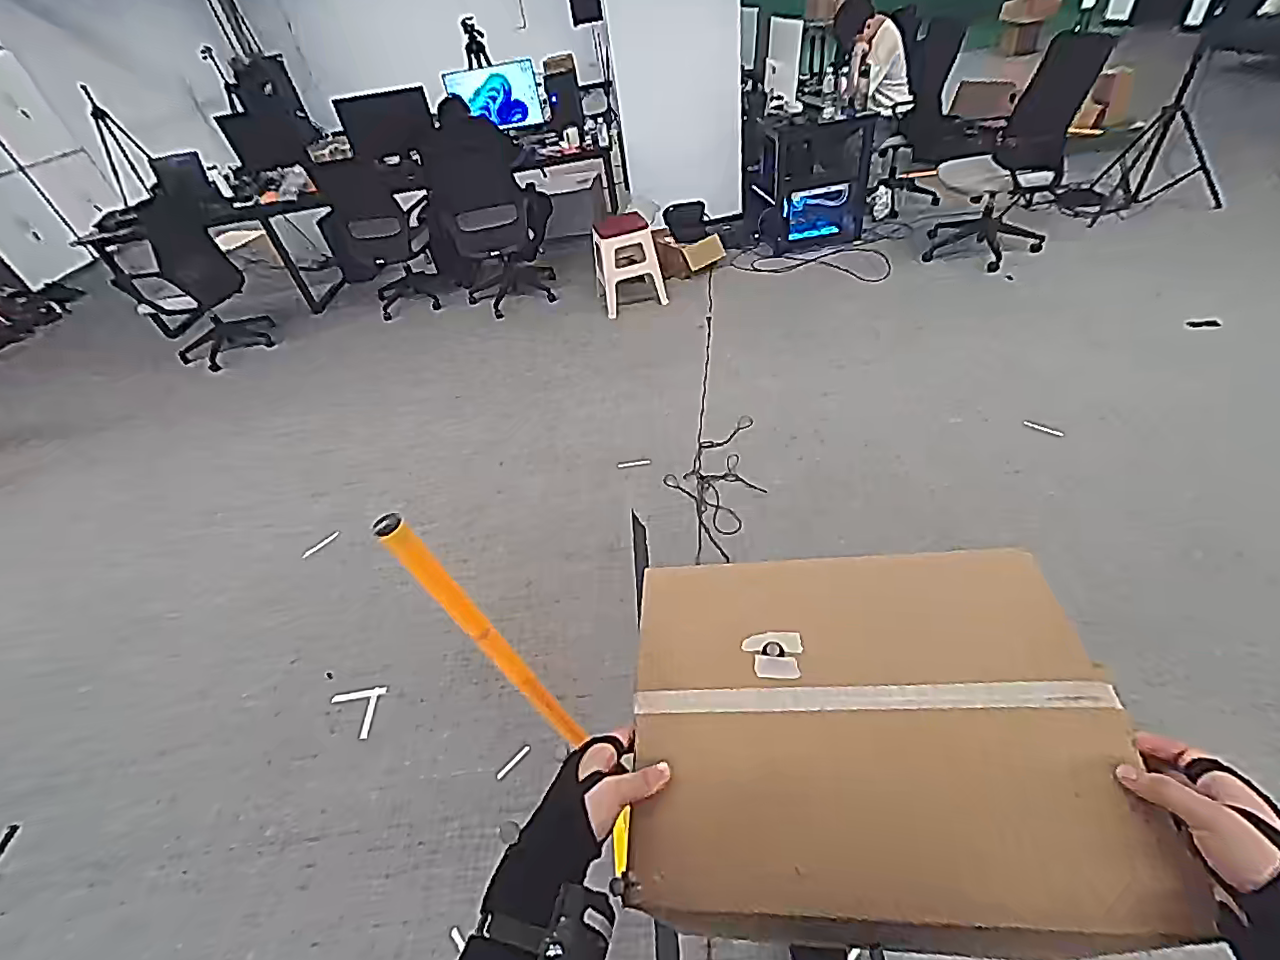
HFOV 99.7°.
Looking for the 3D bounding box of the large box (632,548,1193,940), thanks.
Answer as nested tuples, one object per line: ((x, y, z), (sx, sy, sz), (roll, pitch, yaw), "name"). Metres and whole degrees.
((0.226, 0.305, 0.609), (0.408, 0.320, 0.320), (-6, 45, 11), "large box")
